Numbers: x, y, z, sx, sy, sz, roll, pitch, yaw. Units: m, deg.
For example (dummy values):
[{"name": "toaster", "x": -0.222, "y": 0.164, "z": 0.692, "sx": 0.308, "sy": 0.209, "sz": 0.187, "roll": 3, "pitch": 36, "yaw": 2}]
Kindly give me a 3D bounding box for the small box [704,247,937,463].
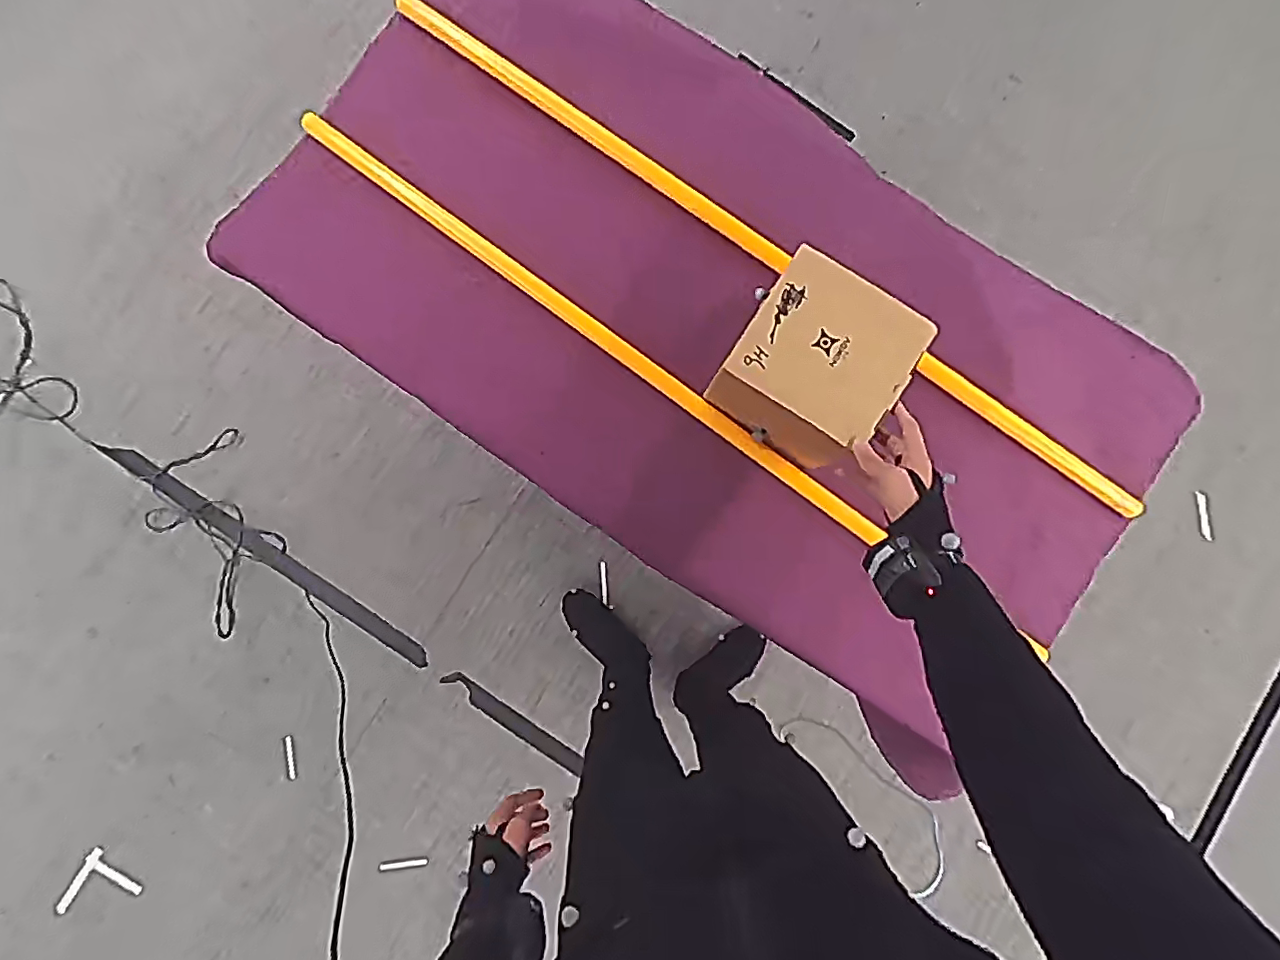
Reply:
[{"name": "small box", "x": 0.199, "y": -0.131, "z": 0.648, "sx": 0.179, "sy": 0.176, "sz": 0.168, "roll": 33, "pitch": 86, "yaw": 0}]
